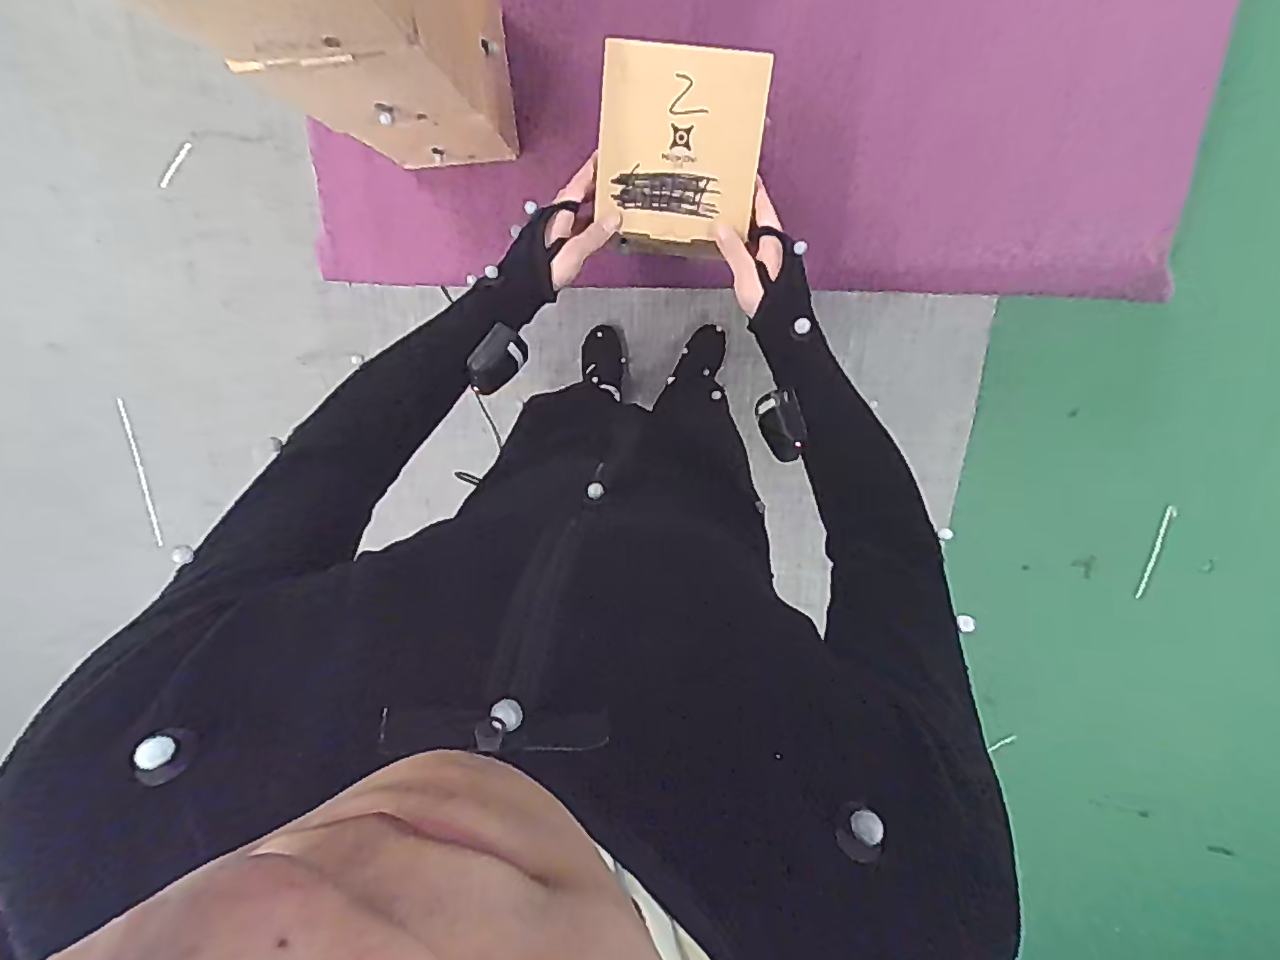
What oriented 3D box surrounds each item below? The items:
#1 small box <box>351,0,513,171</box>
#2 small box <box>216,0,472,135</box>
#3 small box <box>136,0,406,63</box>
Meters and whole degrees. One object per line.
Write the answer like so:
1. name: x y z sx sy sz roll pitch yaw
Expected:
1. small box: -0.260 -0.496 0.652 0.168 0.176 0.179 -4 108 2
2. small box: -0.269 -0.448 0.495 0.168 0.176 0.179 -5 107 2
3. small box: -0.270 -0.403 0.337 0.168 0.176 0.179 -2 106 2
